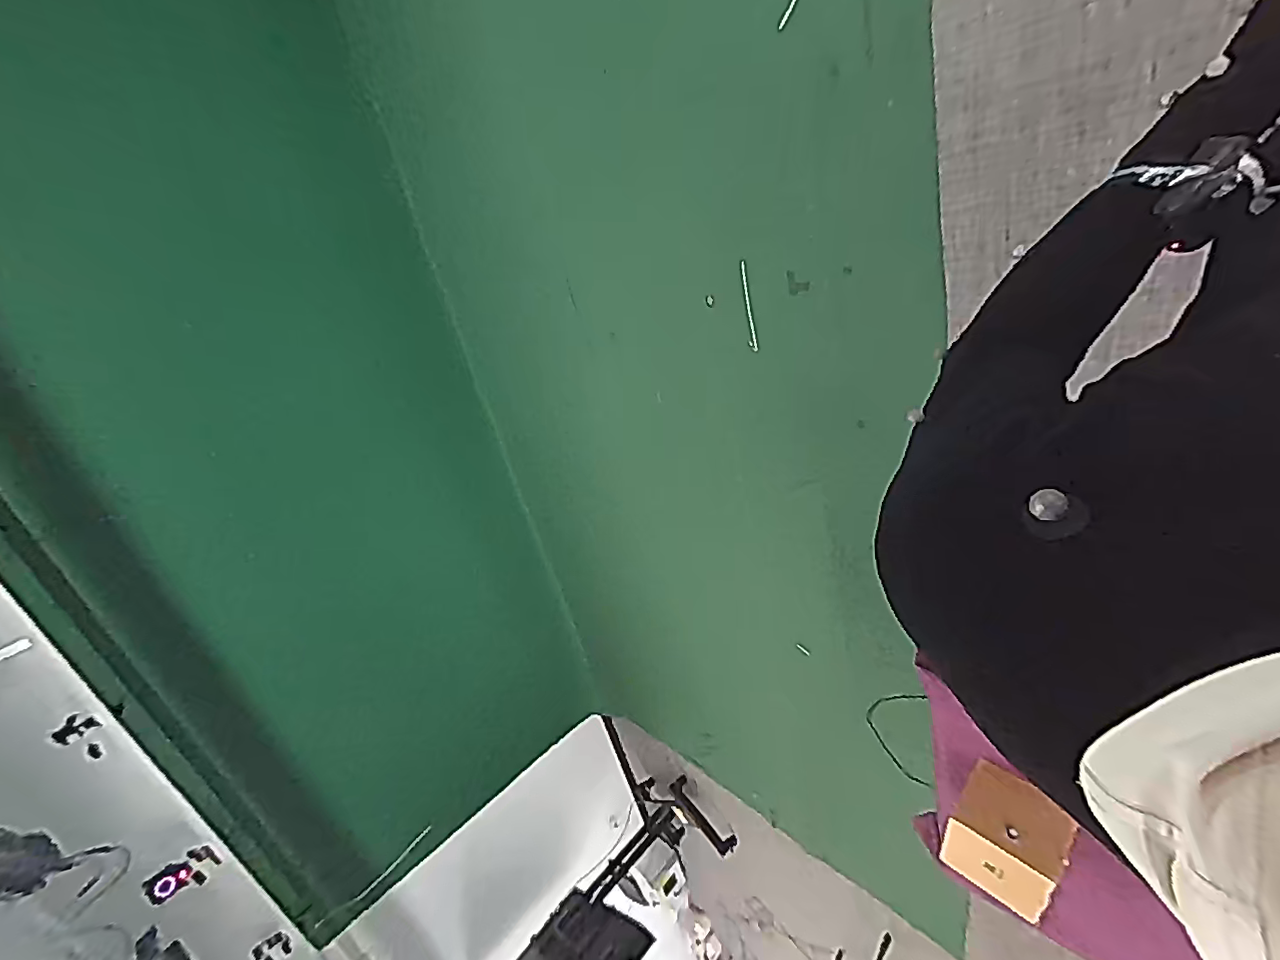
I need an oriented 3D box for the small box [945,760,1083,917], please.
[{"bbox_3d":[0.748,0.703,1.087,0.179,0.176,0.168,20,131,42],"label":"small box"}]
